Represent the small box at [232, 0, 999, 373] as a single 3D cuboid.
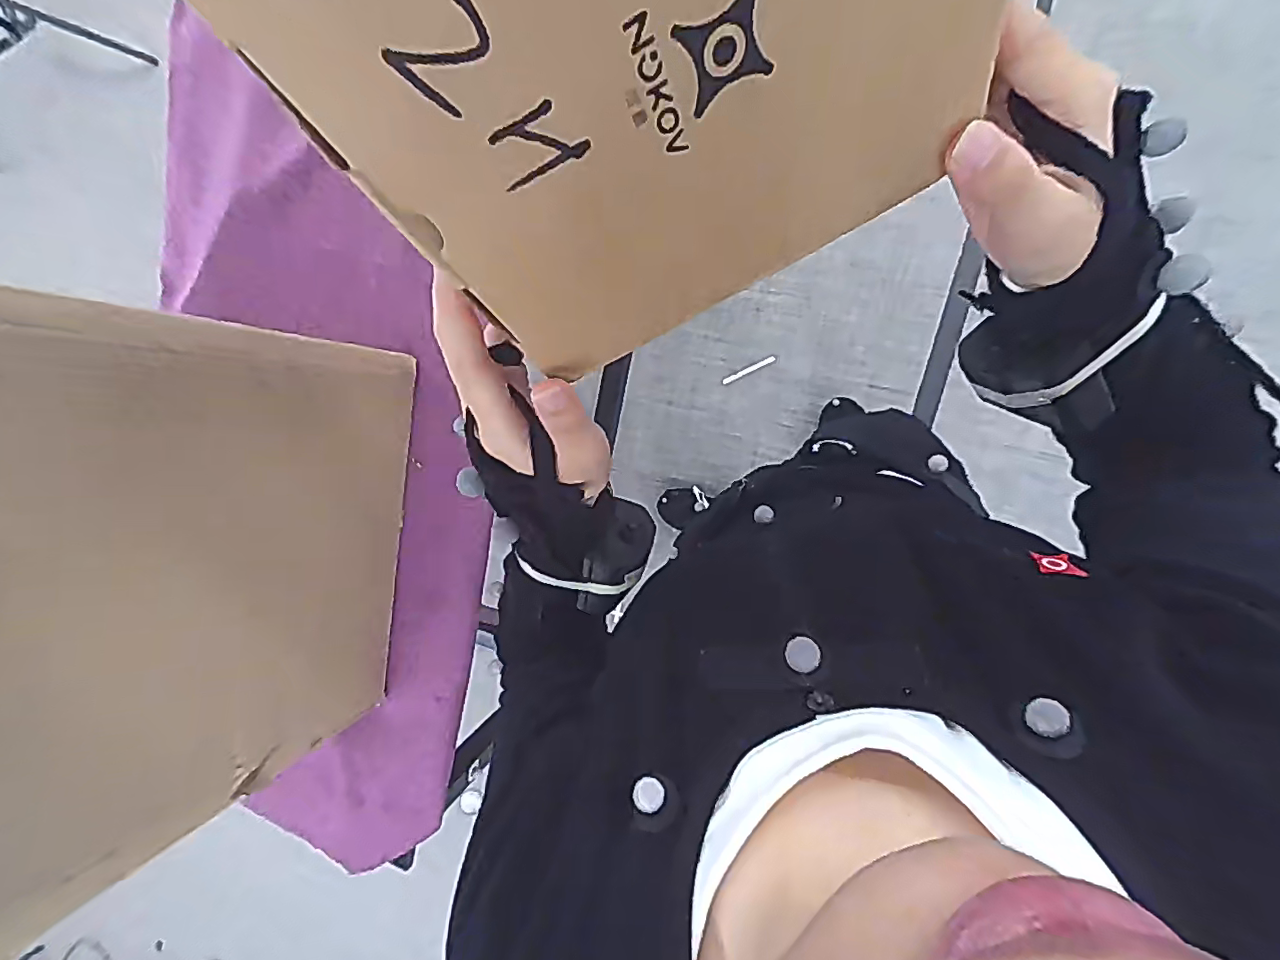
[{"bbox_3d":[-0.010,-0.177,0.181,0.179,0.168,0.176,-26,60,10],"label":"small box"}]
